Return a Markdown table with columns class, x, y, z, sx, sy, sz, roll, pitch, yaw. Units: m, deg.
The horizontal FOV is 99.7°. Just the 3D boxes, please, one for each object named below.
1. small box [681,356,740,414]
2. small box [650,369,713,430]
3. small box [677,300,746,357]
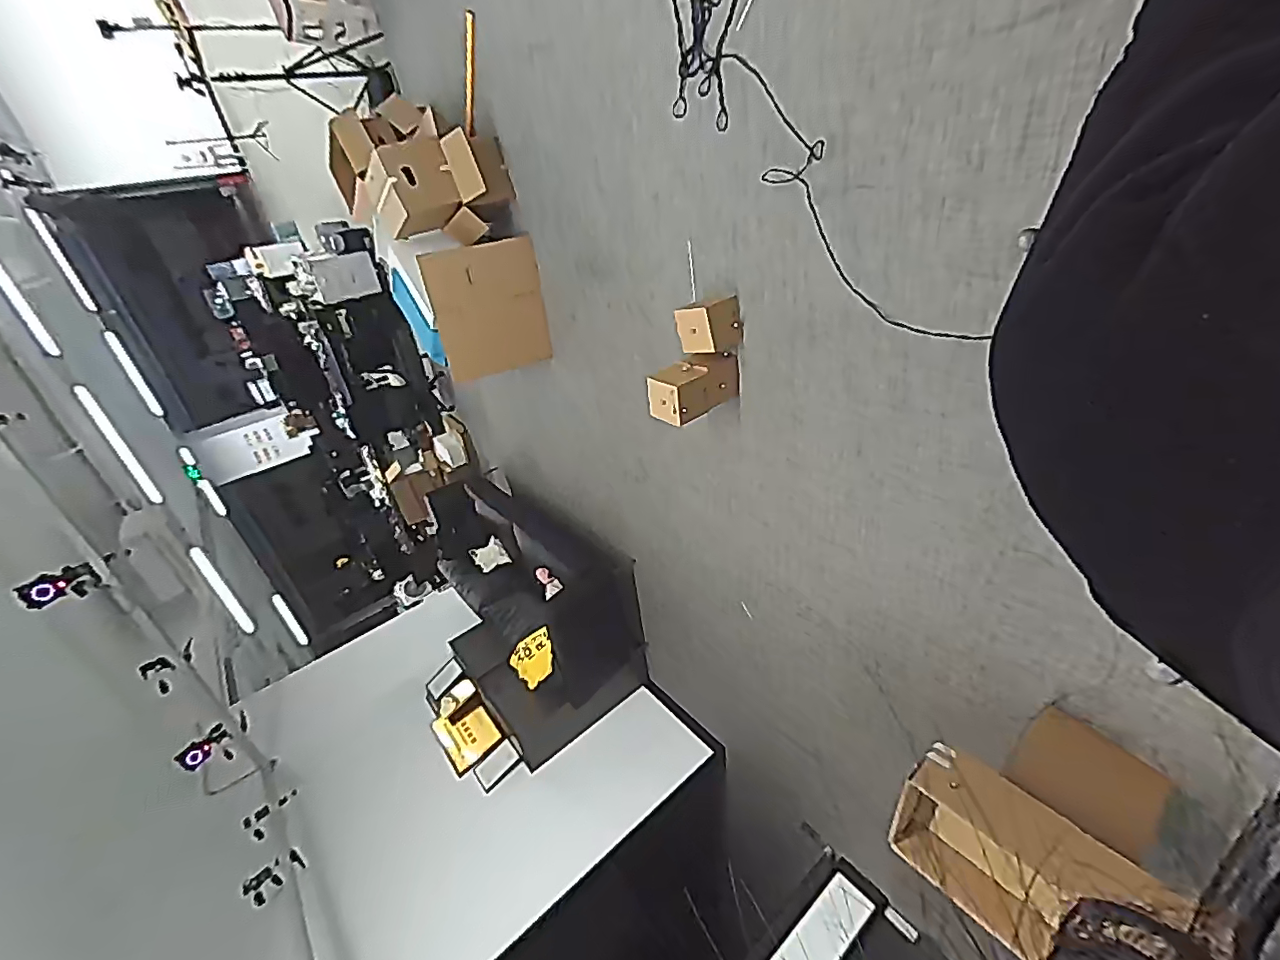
| class | x | y | z | sx | sy | sz | roll | pitch | yaw |
| --- | --- | --- | --- | --- | --- | --- | --- | --- | --- |
| small box | 0.286 | -0.389 | 2.163 | 0.168 | 0.176 | 0.179 | 28 | 137 | 46 |
| small box | 0.161 | -0.317 | 2.086 | 0.179 | 0.176 | 0.168 | 30 | 138 | 45 |
| small box | 0.271 | -0.570 | 2.037 | 0.179 | 0.176 | 0.168 | 16 | 129 | 51 |
